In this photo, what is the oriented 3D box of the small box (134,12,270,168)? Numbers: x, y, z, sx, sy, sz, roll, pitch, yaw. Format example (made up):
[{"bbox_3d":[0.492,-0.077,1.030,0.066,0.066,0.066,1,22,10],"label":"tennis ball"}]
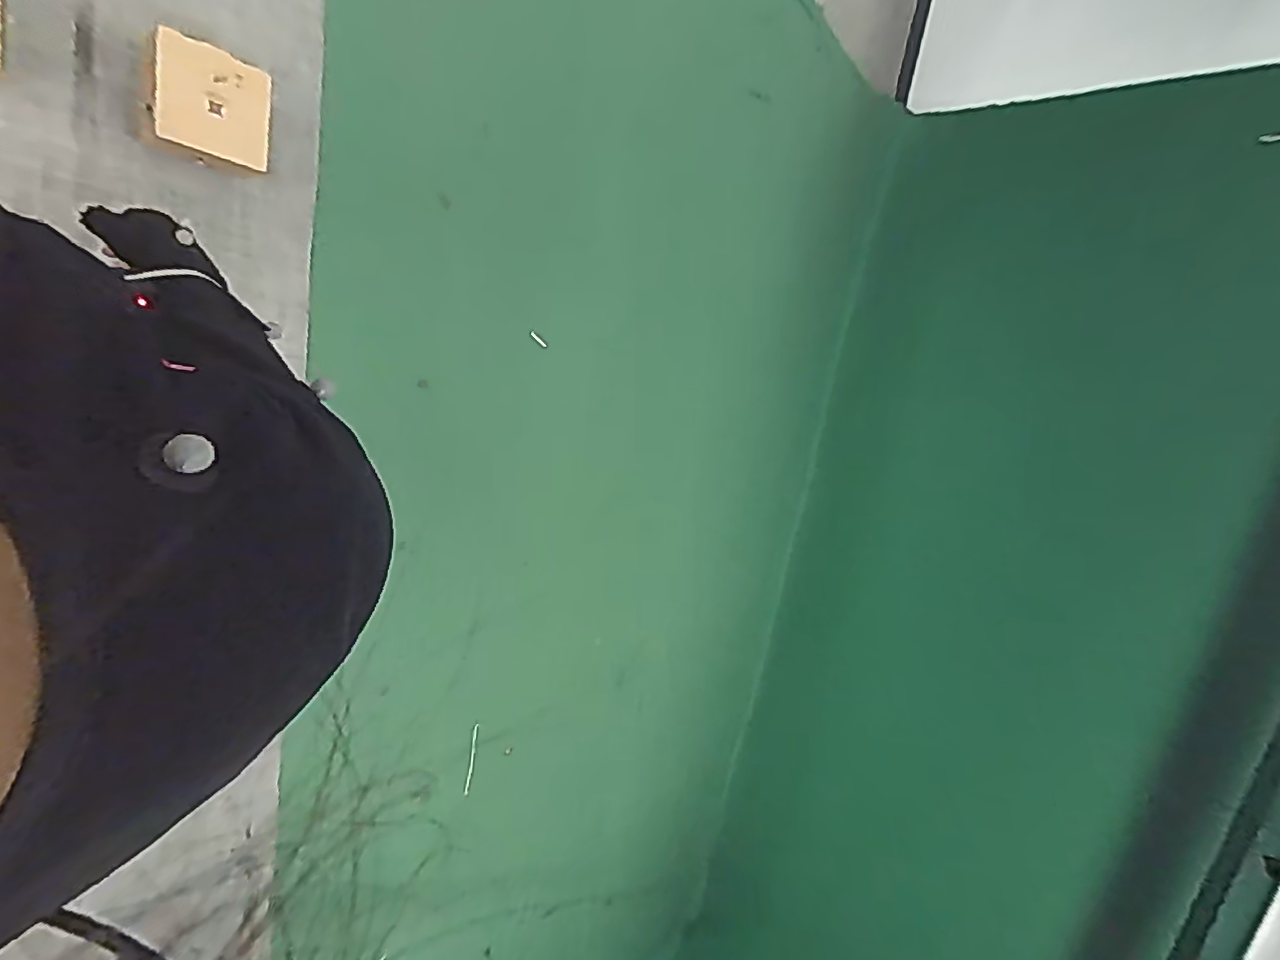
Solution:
[{"bbox_3d":[-0.819,-0.707,1.009,0.168,0.176,0.179,-3,108,-51],"label":"small box"}]
